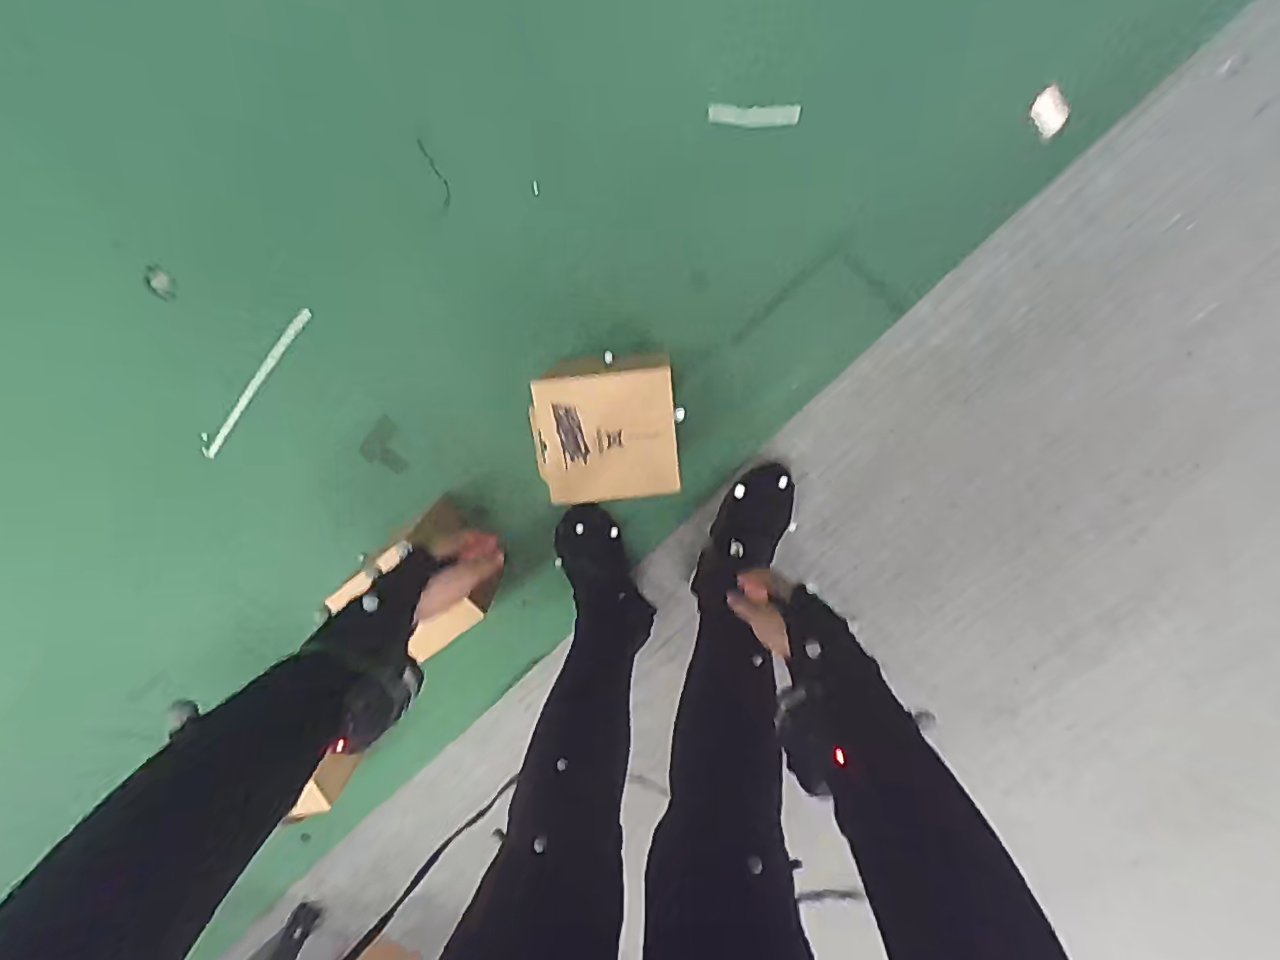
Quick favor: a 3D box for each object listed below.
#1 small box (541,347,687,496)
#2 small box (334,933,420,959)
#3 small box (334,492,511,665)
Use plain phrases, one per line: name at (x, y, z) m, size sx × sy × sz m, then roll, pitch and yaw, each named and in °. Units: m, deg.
small box at (-0.029, -0.089, 0.765) m, size 0.179 × 0.176 × 0.168 m, roll -6°, pitch 111°, yaw 2°
small box at (-0.672, 1.255, 1.312) m, size 0.179 × 0.176 × 0.168 m, roll 39°, pitch 106°, yaw -13°
small box at (-0.332, 0.151, 0.866) m, size 0.179 × 0.176 × 0.168 m, roll -37°, pitch 108°, yaw 13°
